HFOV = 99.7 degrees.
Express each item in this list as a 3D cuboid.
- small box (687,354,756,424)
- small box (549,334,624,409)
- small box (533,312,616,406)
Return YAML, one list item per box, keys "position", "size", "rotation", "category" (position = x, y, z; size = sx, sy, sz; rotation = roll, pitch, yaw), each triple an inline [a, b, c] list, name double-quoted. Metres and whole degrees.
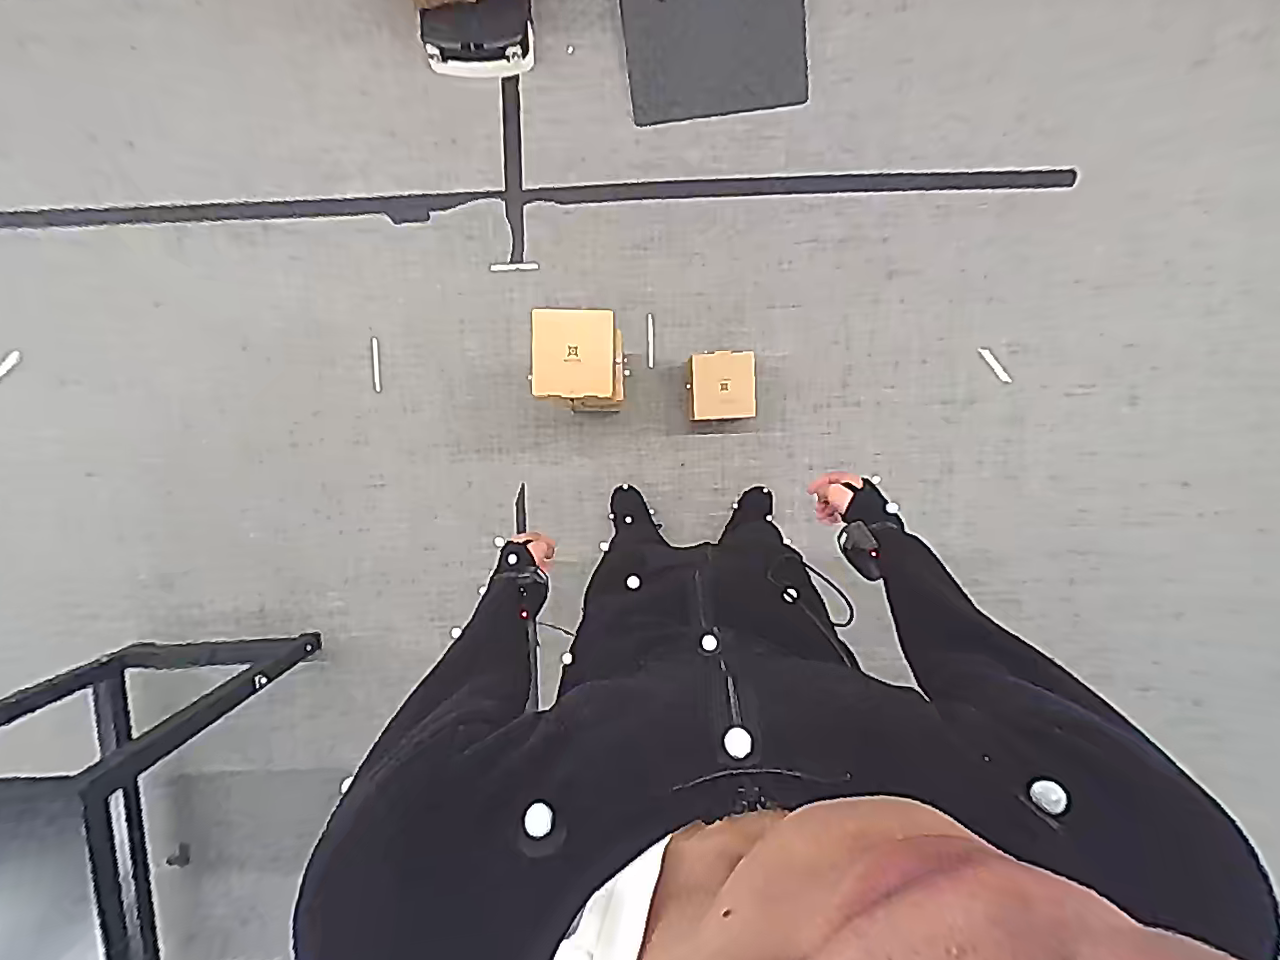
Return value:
- position: [0.221, -0.247, 1.502]
  size: [0.168, 0.176, 0.179]
  rotation: [-3, 96, 1]
  category: "small box"
- position: [-0.129, -0.261, 1.330]
  size: [0.179, 0.176, 0.168]
  rotation: [-2, 95, -2]
  category: "small box"
- position: [-0.137, -0.254, 1.167]
  size: [0.168, 0.176, 0.179]
  rotation: [0, 95, -1]
  category: "small box"
